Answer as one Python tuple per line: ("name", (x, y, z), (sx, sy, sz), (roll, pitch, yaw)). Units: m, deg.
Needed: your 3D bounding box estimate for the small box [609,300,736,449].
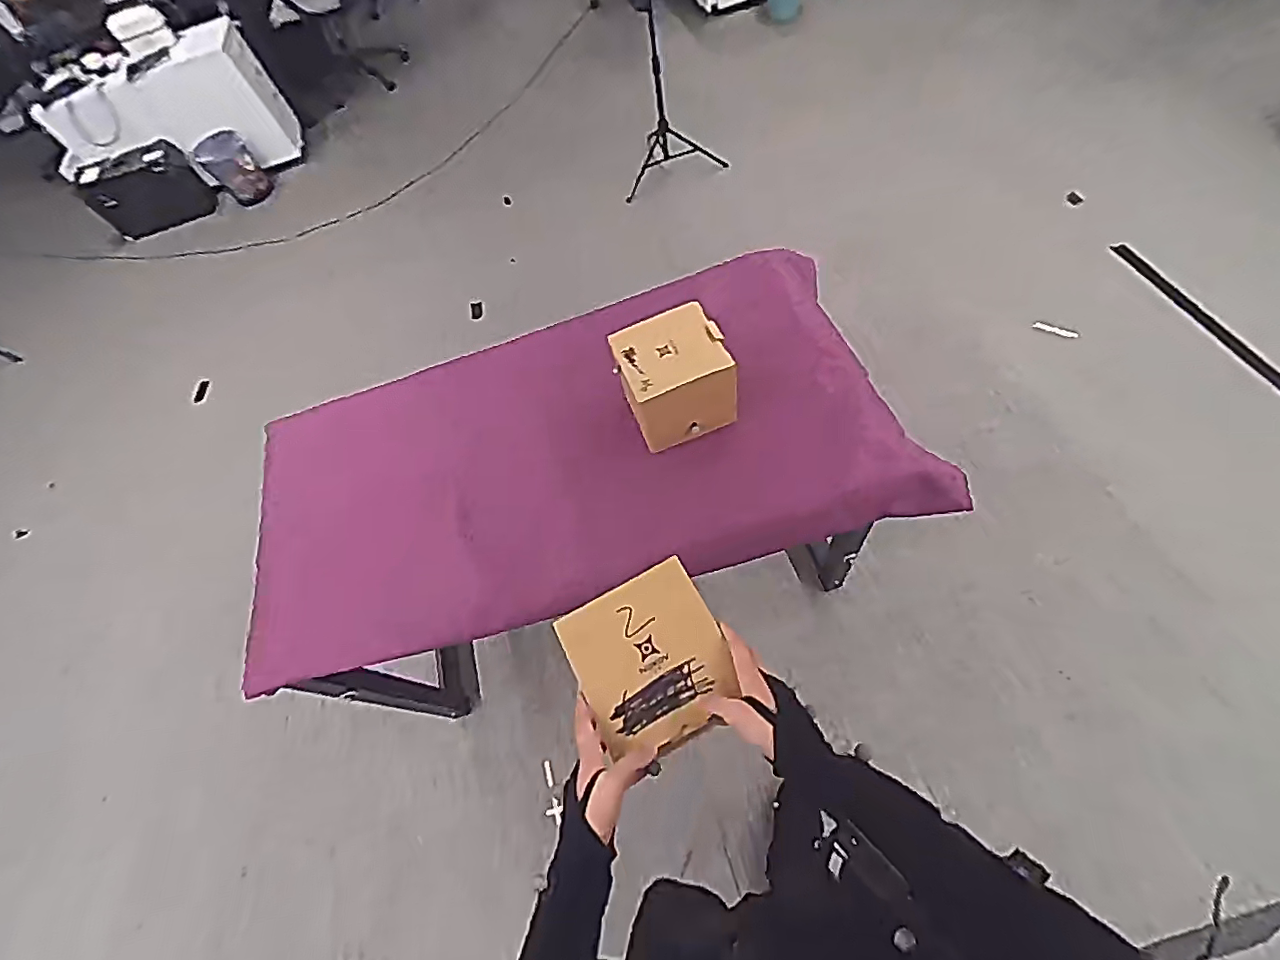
("small box", (0.061, -0.185, 0.982), (0.179, 0.176, 0.168), (-22, 60, -2))
